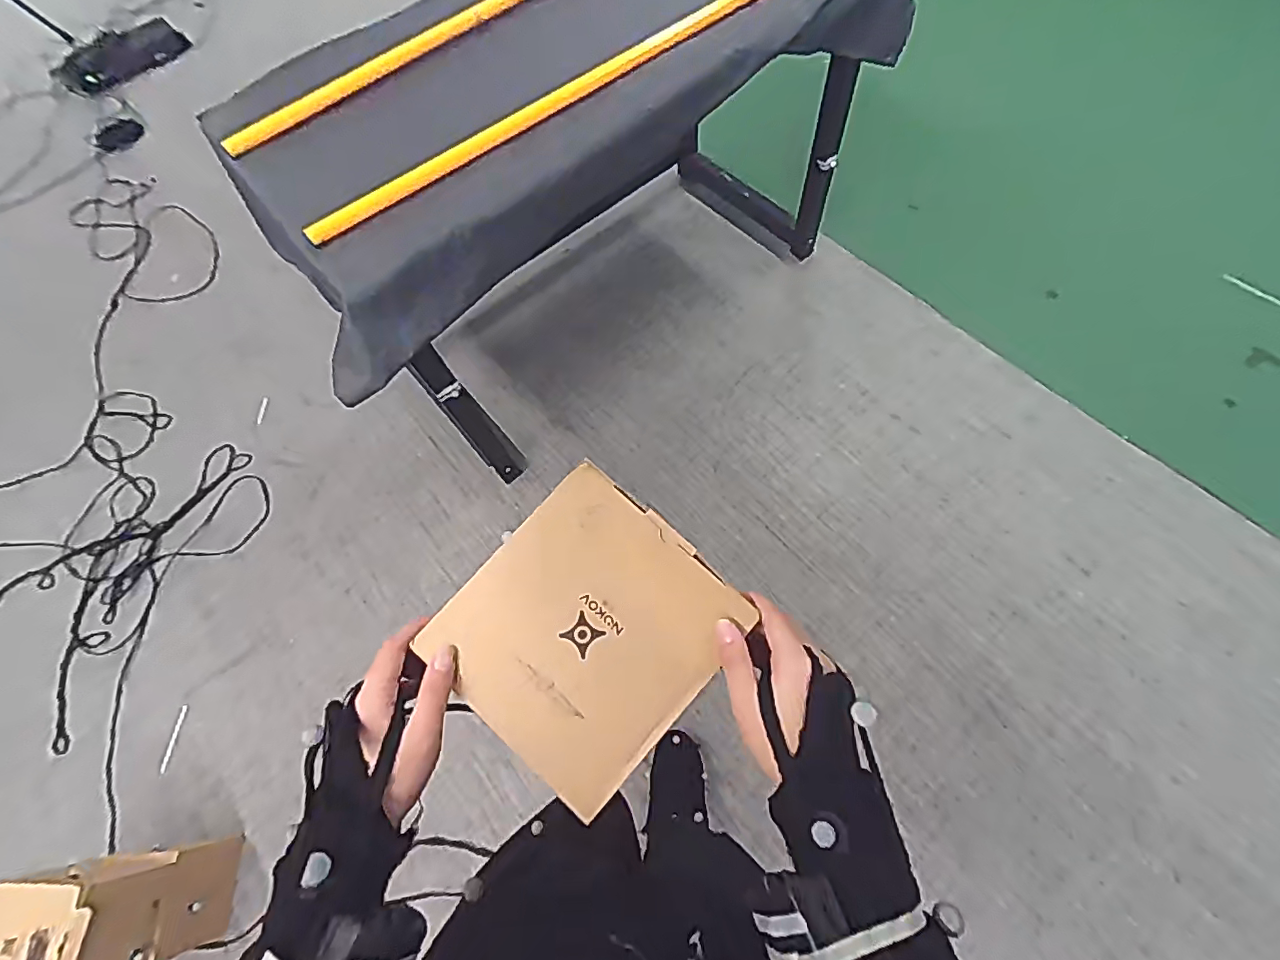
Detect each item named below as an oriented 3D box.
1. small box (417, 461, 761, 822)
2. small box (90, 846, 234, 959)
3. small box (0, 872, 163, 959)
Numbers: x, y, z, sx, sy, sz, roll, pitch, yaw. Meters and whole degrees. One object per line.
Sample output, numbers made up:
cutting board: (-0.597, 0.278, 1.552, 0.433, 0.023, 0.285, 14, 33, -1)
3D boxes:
small box: (-0.033, 0.116, 0.438, 0.168, 0.176, 0.179, 41, 82, 10)
small box: (-0.933, 0.831, 1.043, 0.168, 0.176, 0.179, -7, 65, 3)
small box: (-0.958, 0.765, 0.892, 0.179, 0.176, 0.168, -2, 64, 5)
